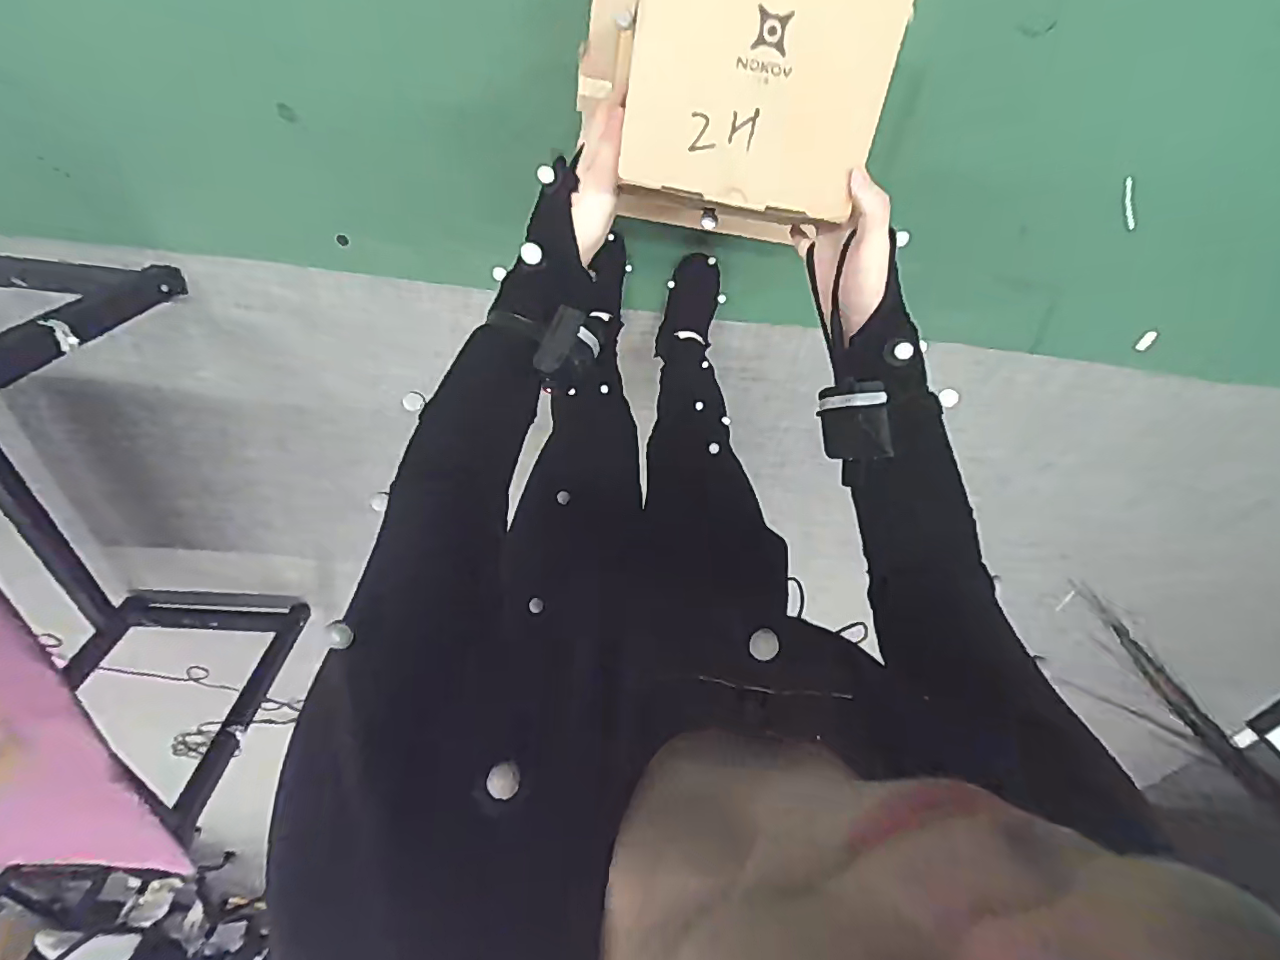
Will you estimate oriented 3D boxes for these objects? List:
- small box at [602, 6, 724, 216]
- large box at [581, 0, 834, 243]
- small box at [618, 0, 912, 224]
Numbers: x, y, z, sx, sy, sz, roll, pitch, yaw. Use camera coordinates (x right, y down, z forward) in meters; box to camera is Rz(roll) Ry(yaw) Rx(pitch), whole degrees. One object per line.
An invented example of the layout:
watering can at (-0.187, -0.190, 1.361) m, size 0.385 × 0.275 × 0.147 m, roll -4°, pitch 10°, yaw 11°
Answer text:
small box at (0.044, -0.459, 0.680) m, size 0.168 × 0.176 × 0.179 m, roll 8°, pitch 128°, yaw -8°
large box at (0.119, -0.609, 0.875) m, size 0.408 × 0.320 × 0.320 m, roll 6°, pitch 128°, yaw -7°
small box at (0.075, -0.301, 0.405) m, size 0.168 × 0.176 × 0.179 m, roll 8°, pitch 114°, yaw -5°
